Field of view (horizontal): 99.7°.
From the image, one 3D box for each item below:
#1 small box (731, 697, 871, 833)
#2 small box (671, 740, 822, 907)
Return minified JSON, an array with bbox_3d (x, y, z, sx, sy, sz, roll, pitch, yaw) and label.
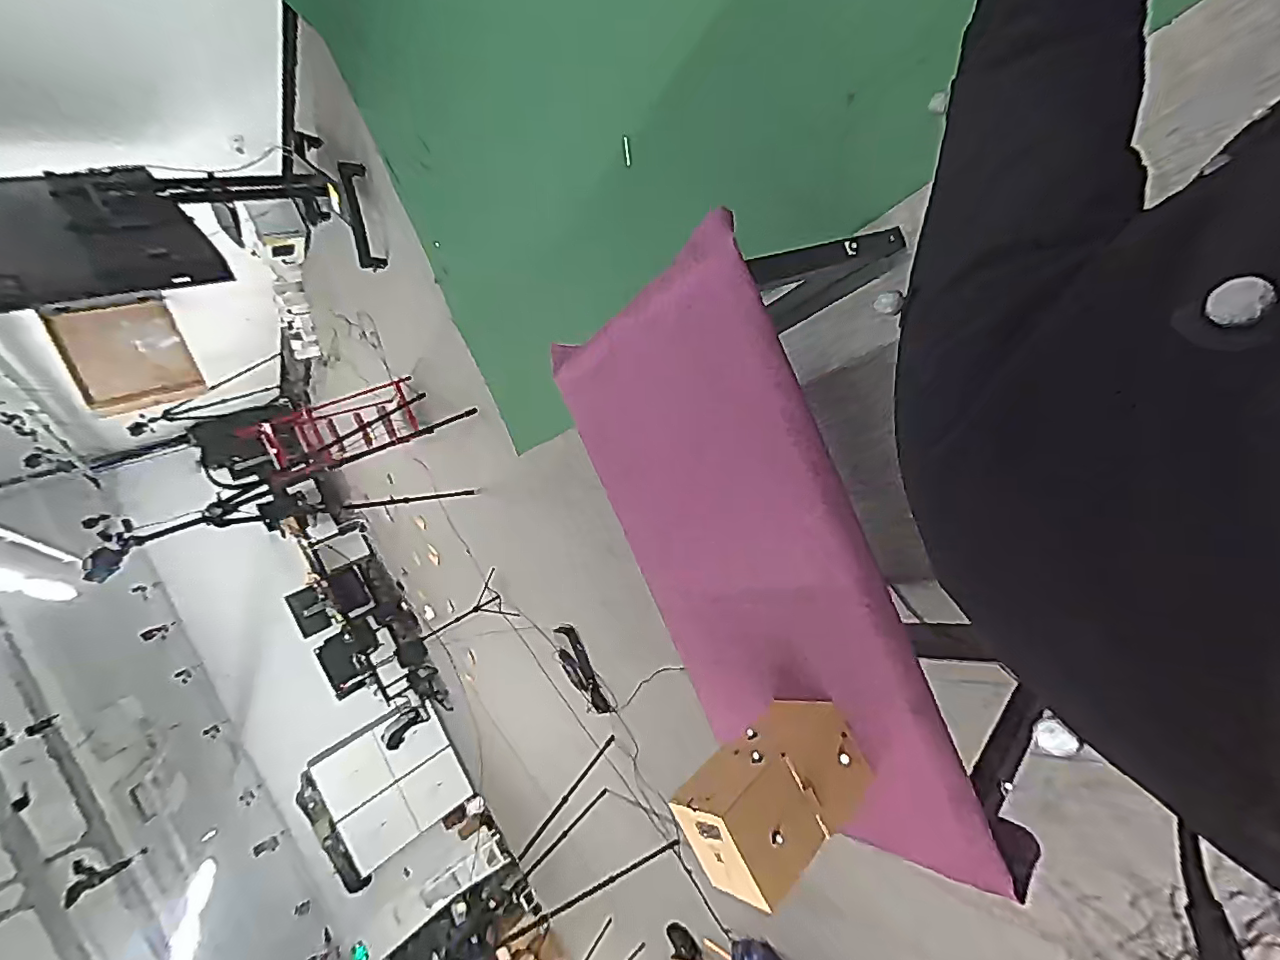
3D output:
[{"bbox_3d":[0.321,0.555,1.083,0.179,0.176,0.168,-31,86,54],"label":"small box"},{"bbox_3d":[0.194,0.609,0.989,0.168,0.176,0.179,-28,88,56],"label":"small box"}]
